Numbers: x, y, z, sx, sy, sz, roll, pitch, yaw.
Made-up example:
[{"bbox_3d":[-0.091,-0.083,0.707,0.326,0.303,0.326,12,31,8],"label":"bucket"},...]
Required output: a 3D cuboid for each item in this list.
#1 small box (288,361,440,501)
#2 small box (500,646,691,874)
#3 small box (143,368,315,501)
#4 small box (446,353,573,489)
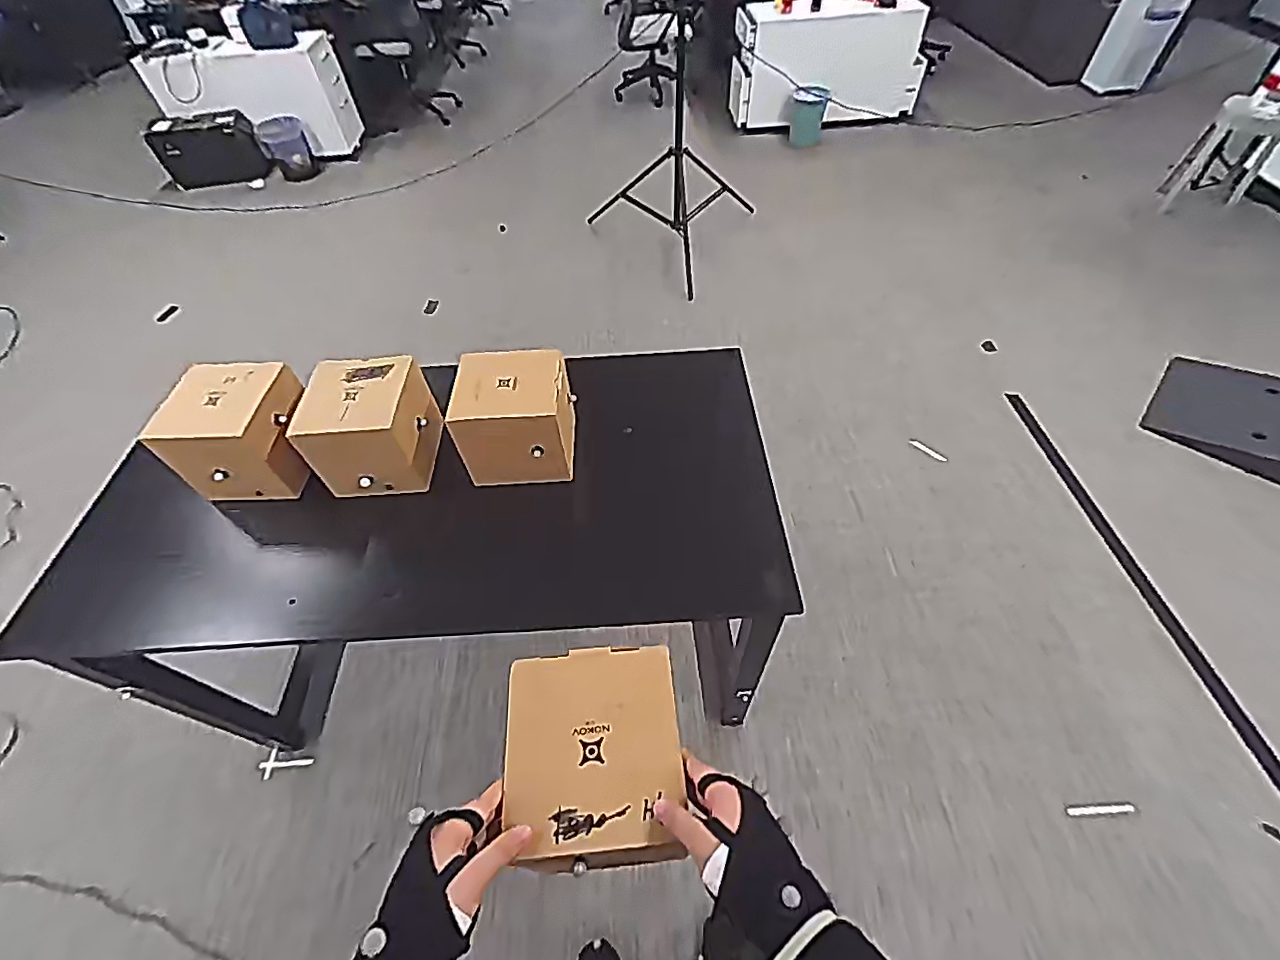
[{"bbox_3d":[-0.463,-0.084,0.943,0.168,0.176,0.179,-4,53,-1],"label":"small box"},{"bbox_3d":[-0.041,0.298,0.573,0.168,0.176,0.179,-6,51,-1],"label":"small box"},{"bbox_3d":[-0.687,-0.074,0.948,0.168,0.176,0.179,-1,52,1],"label":"small box"},{"bbox_3d":[-0.214,-0.100,0.946,0.179,0.176,0.168,-4,51,1],"label":"small box"}]
